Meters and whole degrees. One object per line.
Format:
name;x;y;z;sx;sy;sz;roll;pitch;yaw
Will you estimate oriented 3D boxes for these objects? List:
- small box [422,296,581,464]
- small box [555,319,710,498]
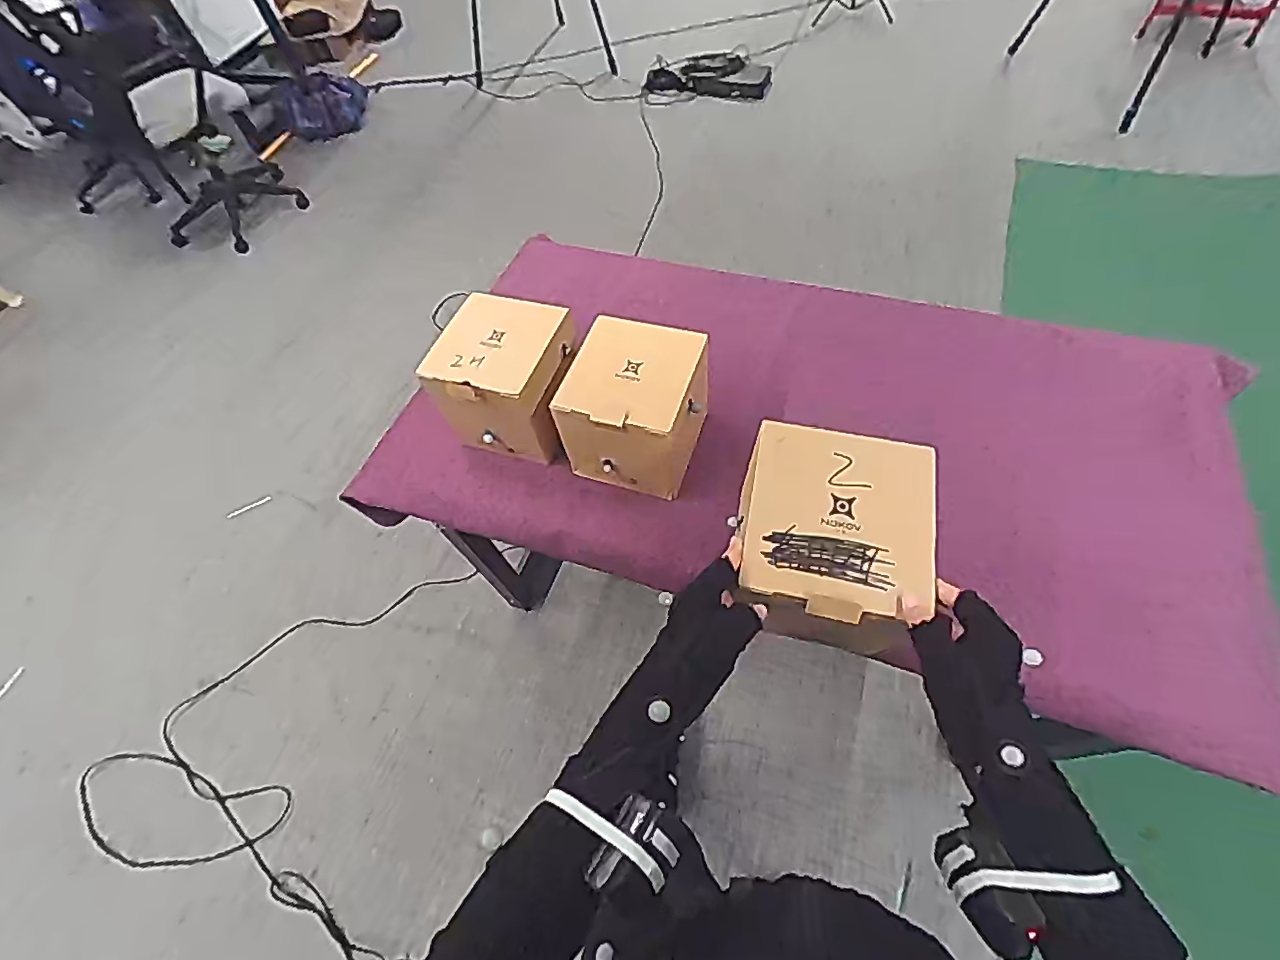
small box;-0.196;-0.153;0.843;0.168;0.176;0.179;14;62;15
small box;-0.002;-0.102;0.792;0.168;0.176;0.179;14;62;15
